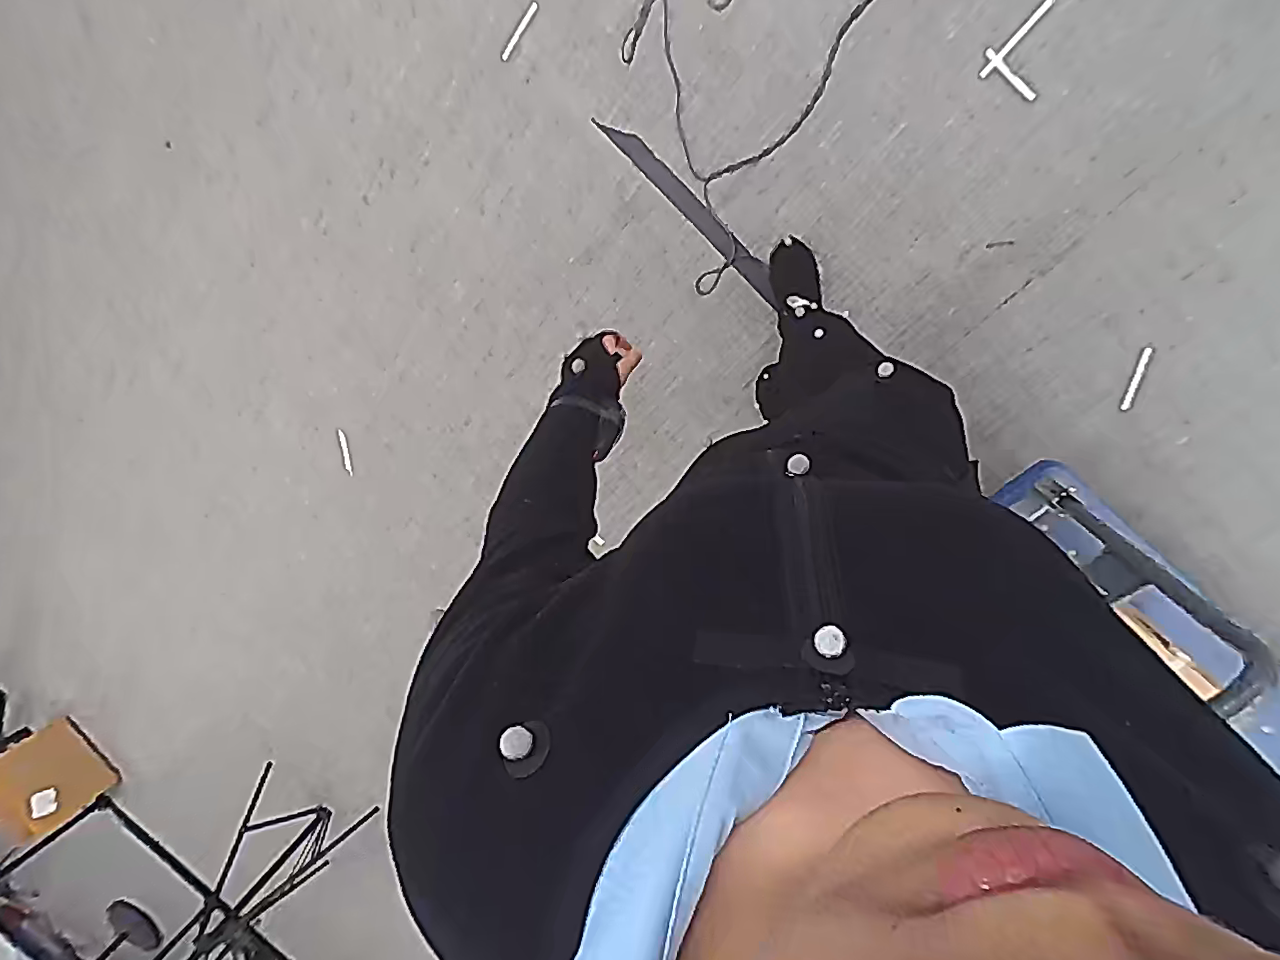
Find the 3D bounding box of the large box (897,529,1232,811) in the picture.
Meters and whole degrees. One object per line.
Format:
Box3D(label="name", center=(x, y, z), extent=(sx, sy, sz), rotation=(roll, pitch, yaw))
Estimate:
Box3D(label="large box", center=(0.828, 0.382, 1.139), extent=(0.320, 0.320, 0.408), rotation=(39, 115, 2))
